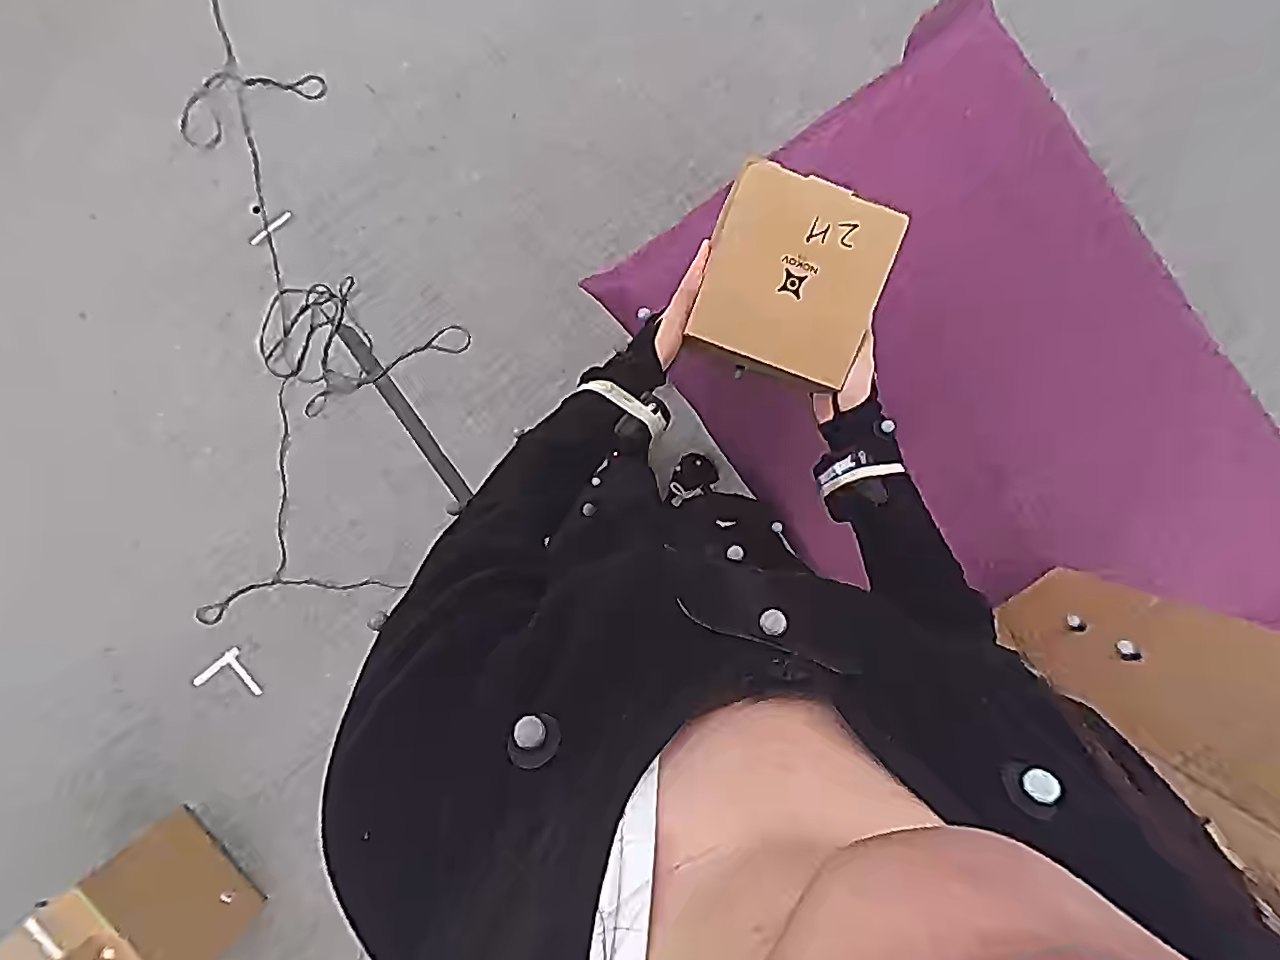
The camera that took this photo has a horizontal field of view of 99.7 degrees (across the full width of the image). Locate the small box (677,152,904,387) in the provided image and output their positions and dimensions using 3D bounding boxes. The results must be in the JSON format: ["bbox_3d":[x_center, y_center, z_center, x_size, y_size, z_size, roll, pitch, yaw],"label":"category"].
[{"bbox_3d":[0.145,-0.209,0.594,0.168,0.176,0.179,19,97,-4],"label":"small box"}]

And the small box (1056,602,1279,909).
[{"bbox_3d":[0.567,0.250,0.535,0.179,0.176,0.168,-35,92,4],"label":"small box"}]

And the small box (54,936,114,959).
[{"bbox_3d":[-1.375,1.237,1.259,0.179,0.176,0.168,-39,92,3],"label":"small box"}]
